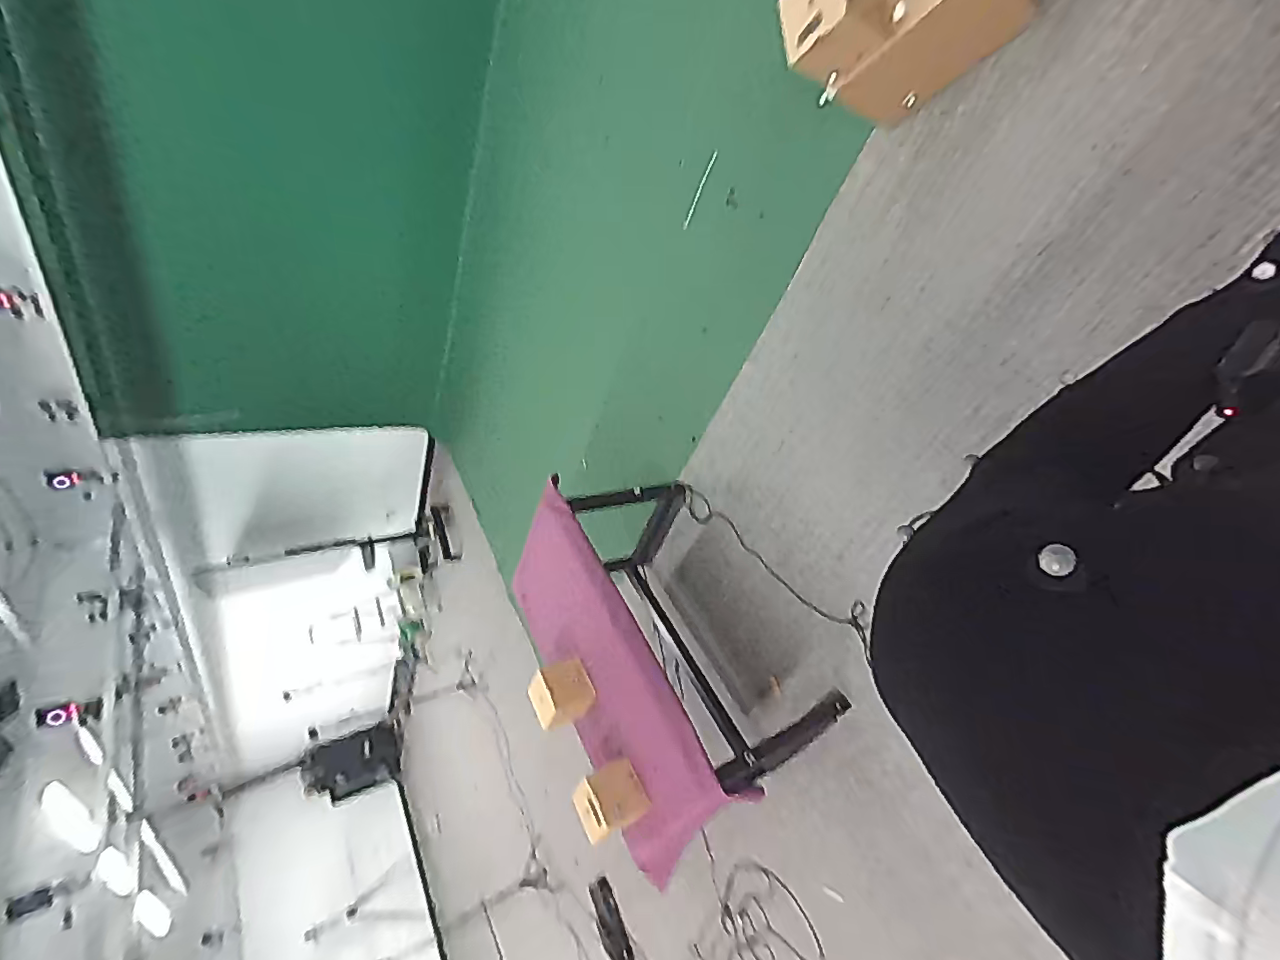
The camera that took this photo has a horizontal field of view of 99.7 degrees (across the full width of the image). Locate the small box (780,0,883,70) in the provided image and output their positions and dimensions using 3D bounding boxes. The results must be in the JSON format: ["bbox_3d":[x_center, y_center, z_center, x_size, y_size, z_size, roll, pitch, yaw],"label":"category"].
[{"bbox_3d":[0.466,-1.144,1.312,0.168,0.176,0.179,-10,88,53],"label":"small box"}]

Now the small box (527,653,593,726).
[{"bbox_3d":[-0.295,0.773,2.002,0.168,0.176,0.179,55,135,32],"label":"small box"}]
